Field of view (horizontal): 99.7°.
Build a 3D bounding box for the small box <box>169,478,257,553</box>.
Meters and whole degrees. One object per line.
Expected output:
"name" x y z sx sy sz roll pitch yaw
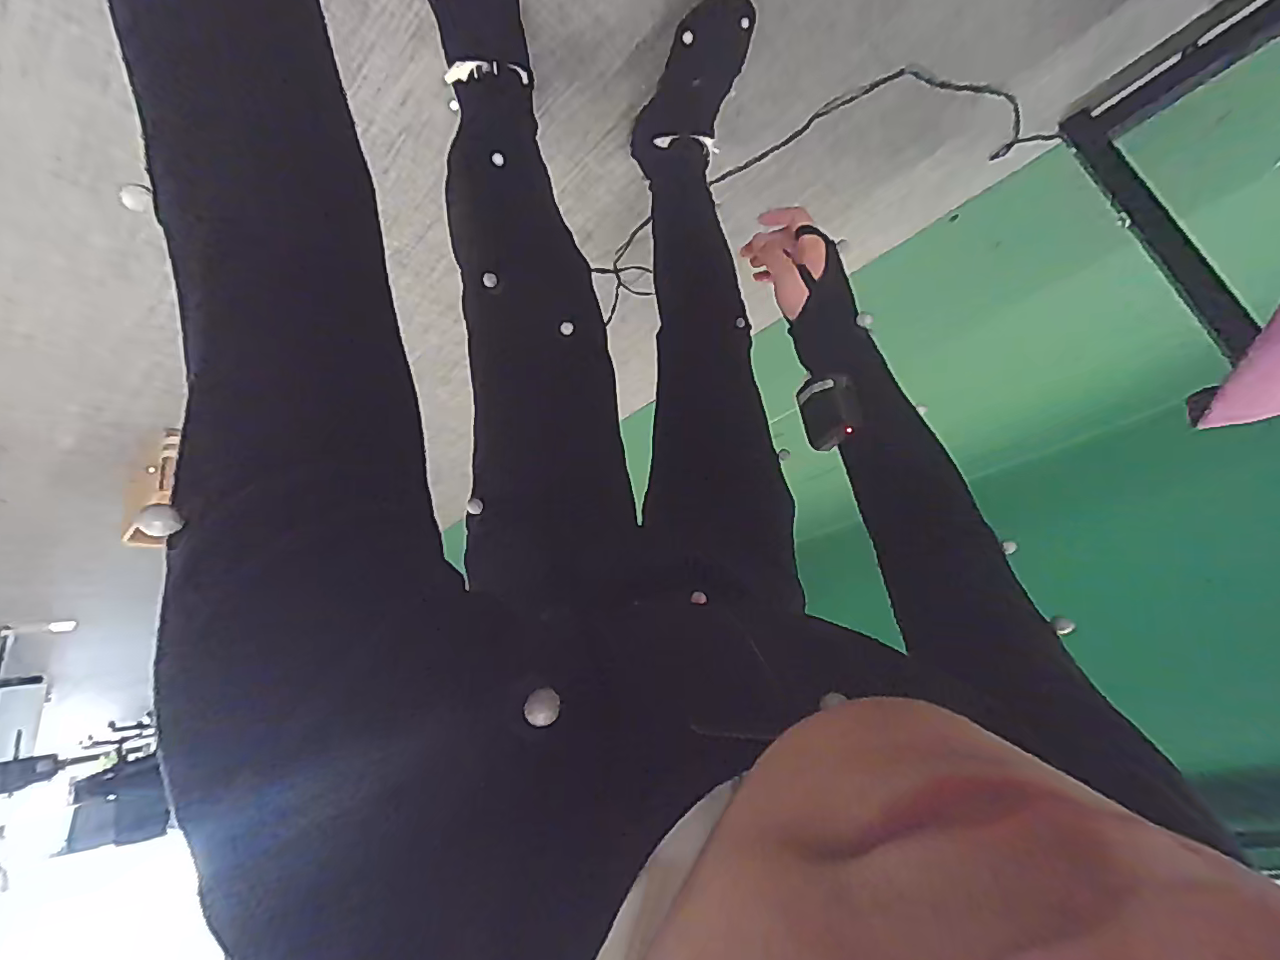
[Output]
"small box" -1.270 0.106 1.611 0.168 0.176 0.179 -31 153 36
